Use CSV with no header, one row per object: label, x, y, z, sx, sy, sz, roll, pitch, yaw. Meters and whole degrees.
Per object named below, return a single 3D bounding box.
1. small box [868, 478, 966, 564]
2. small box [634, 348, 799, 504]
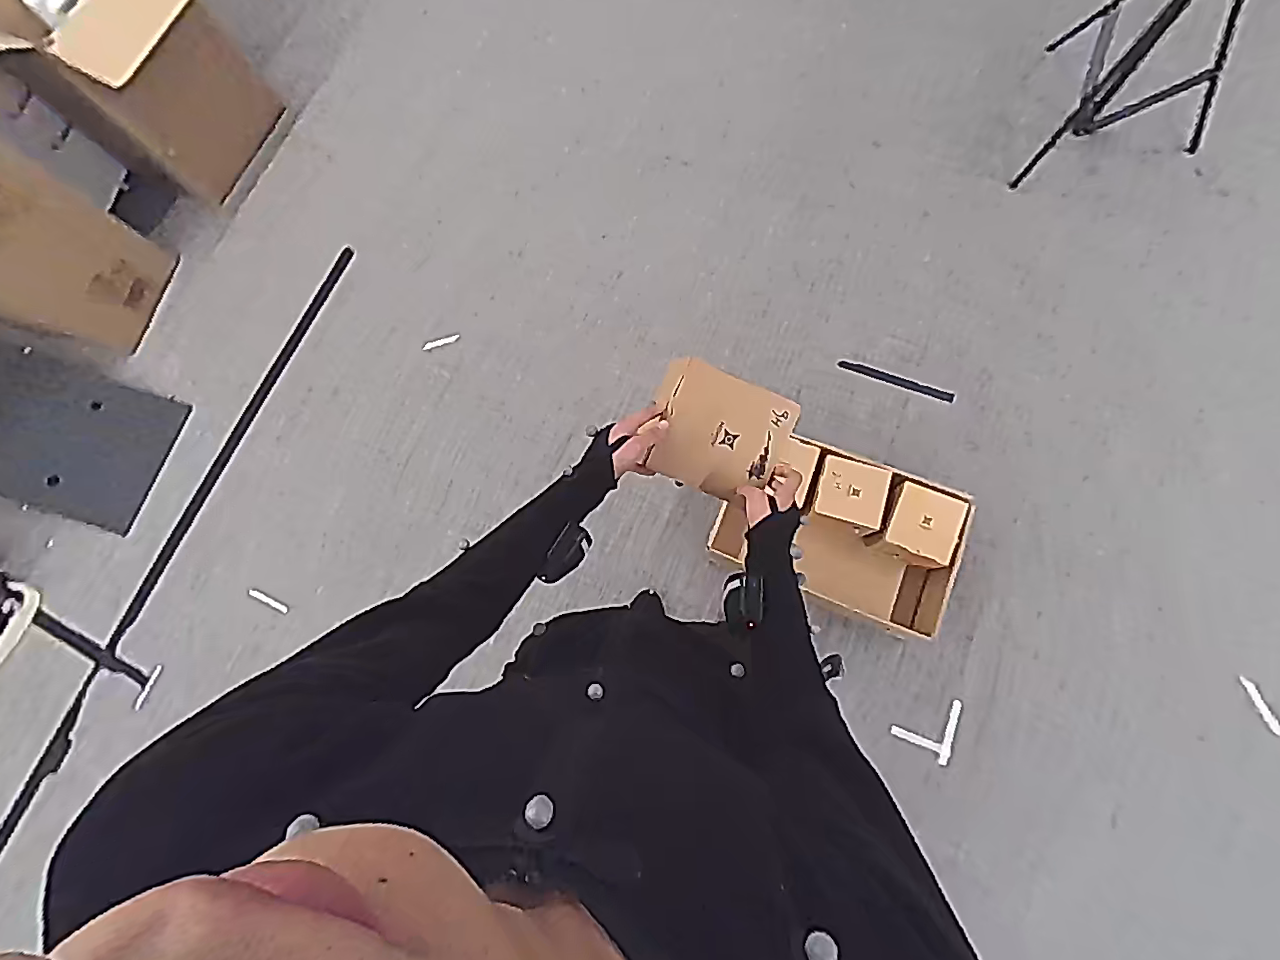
small box,0.746,0.118,1.475,0.168,0.176,0.179,22,83,11
small box,0.102,-0.082,0.820,0.179,0.176,0.168,23,96,-9
